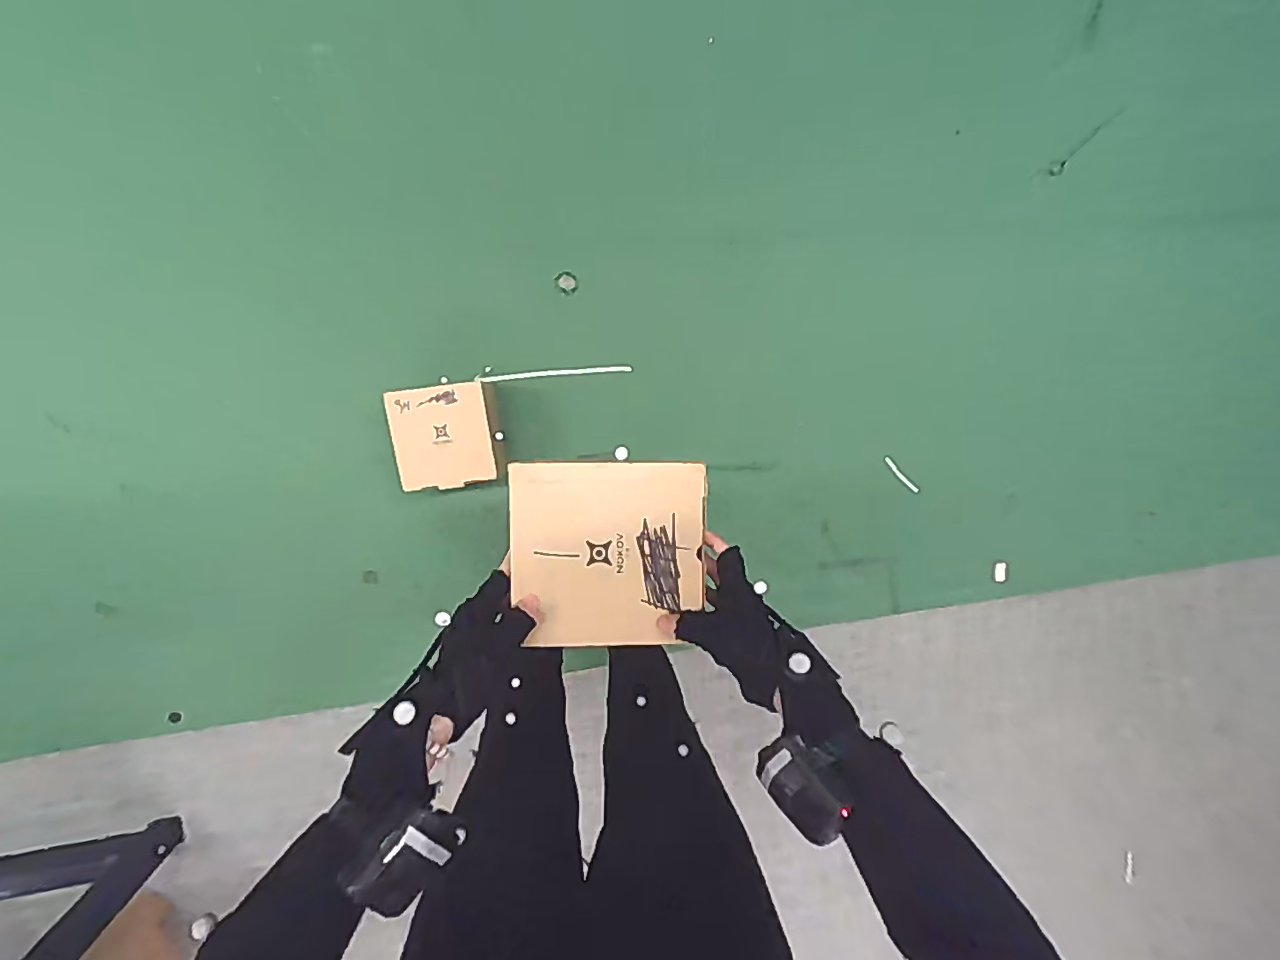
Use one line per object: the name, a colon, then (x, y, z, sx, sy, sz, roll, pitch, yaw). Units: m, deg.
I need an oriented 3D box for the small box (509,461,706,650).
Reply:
small box: (-0.034, 0.066, 0.560, 0.179, 0.176, 0.168, 0, 93, -3)

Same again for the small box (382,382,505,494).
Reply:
small box: (-0.354, -0.085, 1.007, 0.168, 0.176, 0.179, -8, 101, -7)
